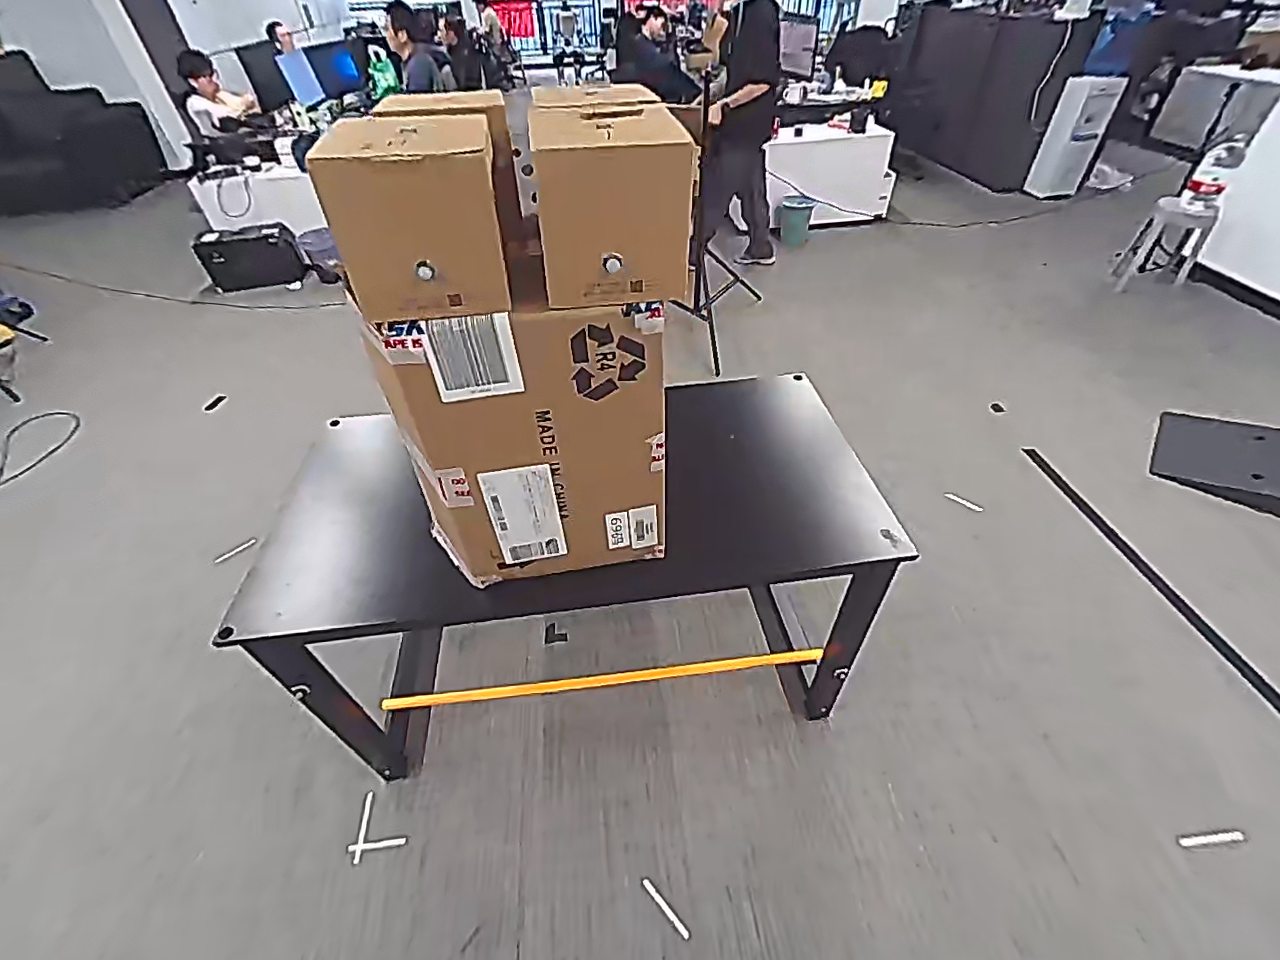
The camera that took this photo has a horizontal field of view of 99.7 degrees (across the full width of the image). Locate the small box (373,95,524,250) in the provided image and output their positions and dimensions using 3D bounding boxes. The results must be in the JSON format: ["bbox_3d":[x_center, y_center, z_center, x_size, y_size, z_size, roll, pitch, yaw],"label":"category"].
[{"bbox_3d":[-0.270,-0.454,0.797,0.168,0.176,0.179,-10,42,-9],"label":"small box"}]

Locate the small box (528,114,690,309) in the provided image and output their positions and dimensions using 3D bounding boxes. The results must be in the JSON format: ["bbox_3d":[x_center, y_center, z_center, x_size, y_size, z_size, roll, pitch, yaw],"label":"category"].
[{"bbox_3d":[-0.041,-0.324,0.652,0.168,0.176,0.179,-7,45,-6],"label":"small box"}]
